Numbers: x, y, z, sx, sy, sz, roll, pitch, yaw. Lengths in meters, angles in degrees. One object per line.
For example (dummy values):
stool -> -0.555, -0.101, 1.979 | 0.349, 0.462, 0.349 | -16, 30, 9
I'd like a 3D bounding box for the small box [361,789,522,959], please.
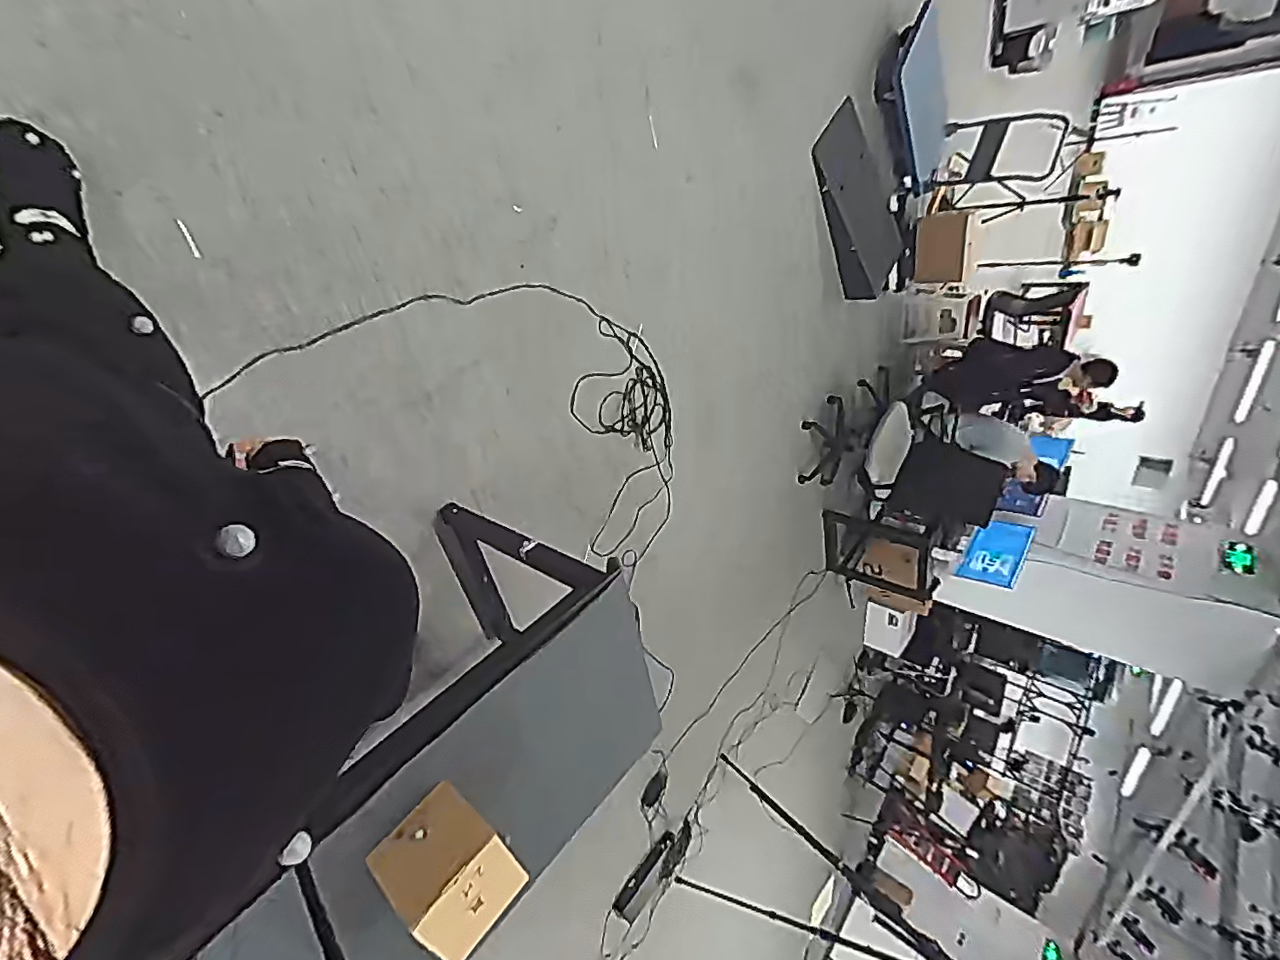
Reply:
small box -> -0.339, 0.679, 0.932 | 0.168, 0.176, 0.179 | -40, 131, -35
